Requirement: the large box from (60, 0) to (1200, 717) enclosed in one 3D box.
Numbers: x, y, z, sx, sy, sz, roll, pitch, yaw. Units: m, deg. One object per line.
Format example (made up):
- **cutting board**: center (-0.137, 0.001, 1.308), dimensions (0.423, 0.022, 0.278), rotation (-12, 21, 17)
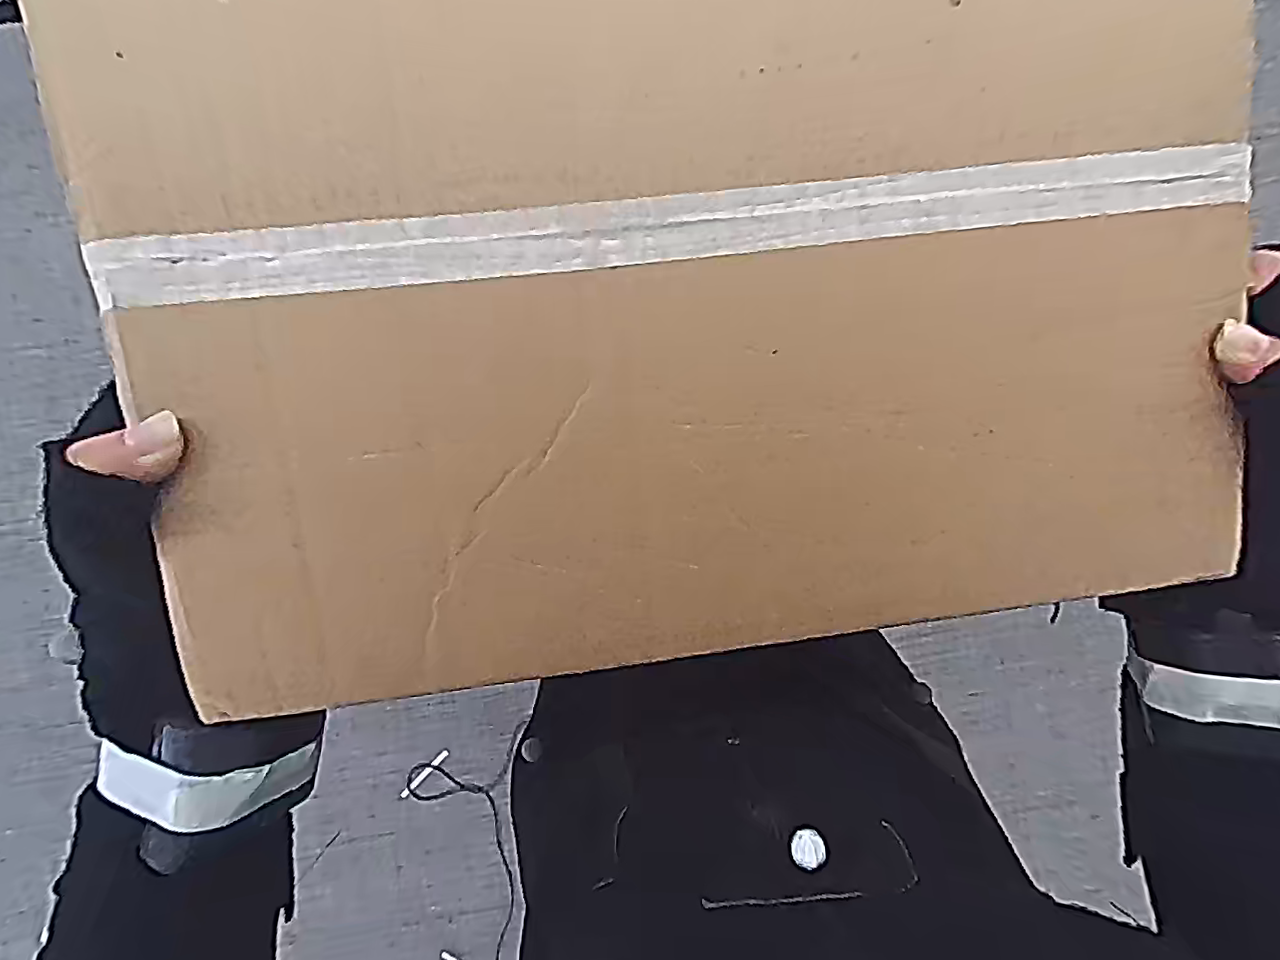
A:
- **large box**: center (0.010, -0.104, 0.349), dimensions (0.408, 0.320, 0.320), rotation (-7, 97, -4)
